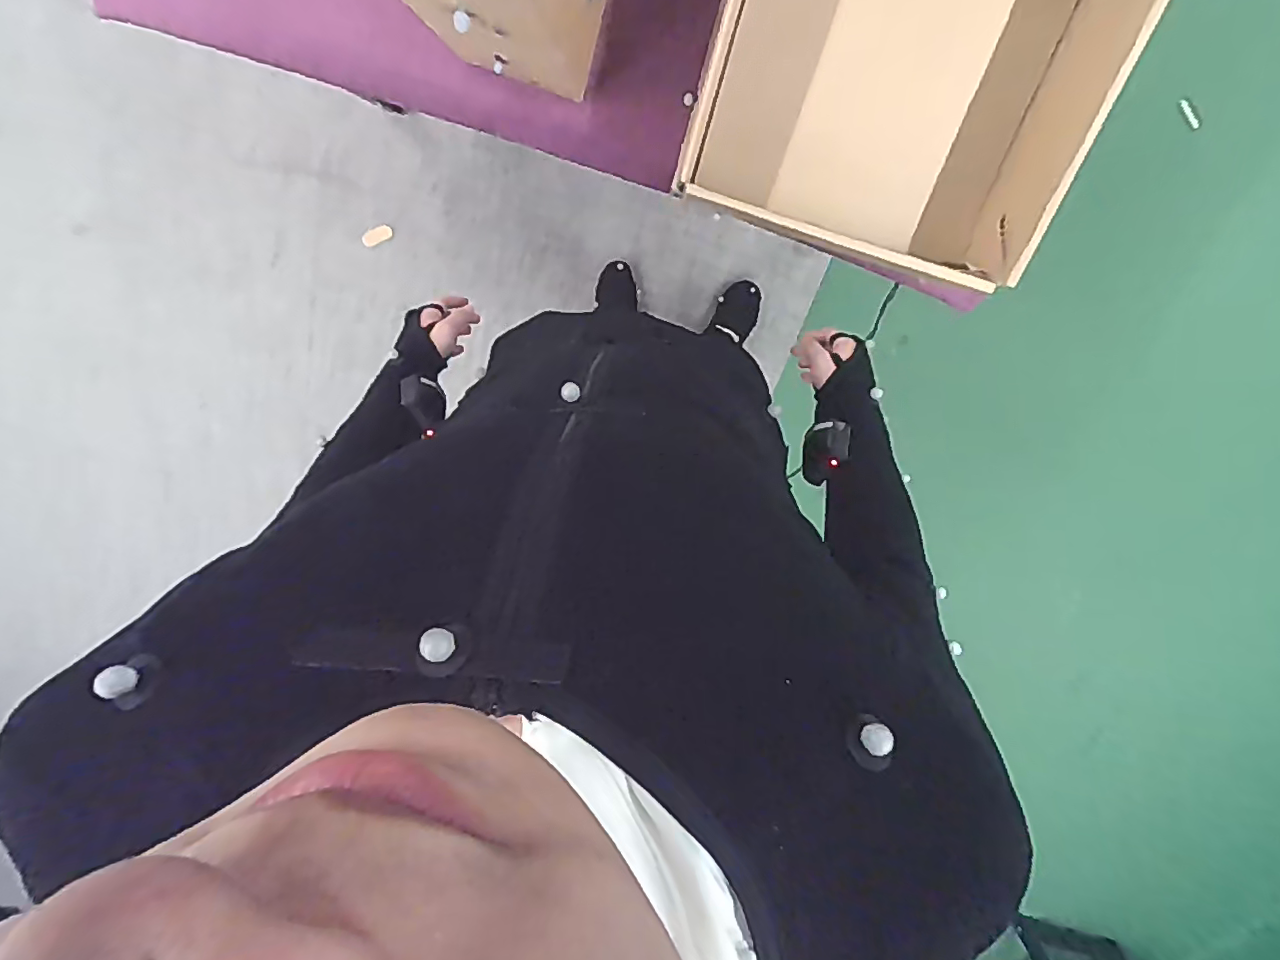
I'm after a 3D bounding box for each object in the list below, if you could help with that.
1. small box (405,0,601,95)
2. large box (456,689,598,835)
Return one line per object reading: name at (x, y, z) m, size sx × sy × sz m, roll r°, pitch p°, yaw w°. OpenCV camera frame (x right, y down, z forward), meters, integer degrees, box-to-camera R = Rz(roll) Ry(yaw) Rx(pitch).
small box at (-0.132, -0.559, 0.589) m, size 0.168 × 0.176 × 0.179 m, roll 16°, pitch 112°, yaw -7°
large box at (-0.397, 1.033, 2.002) m, size 0.408 × 0.320 × 0.320 m, roll -15°, pitch 113°, yaw 6°
